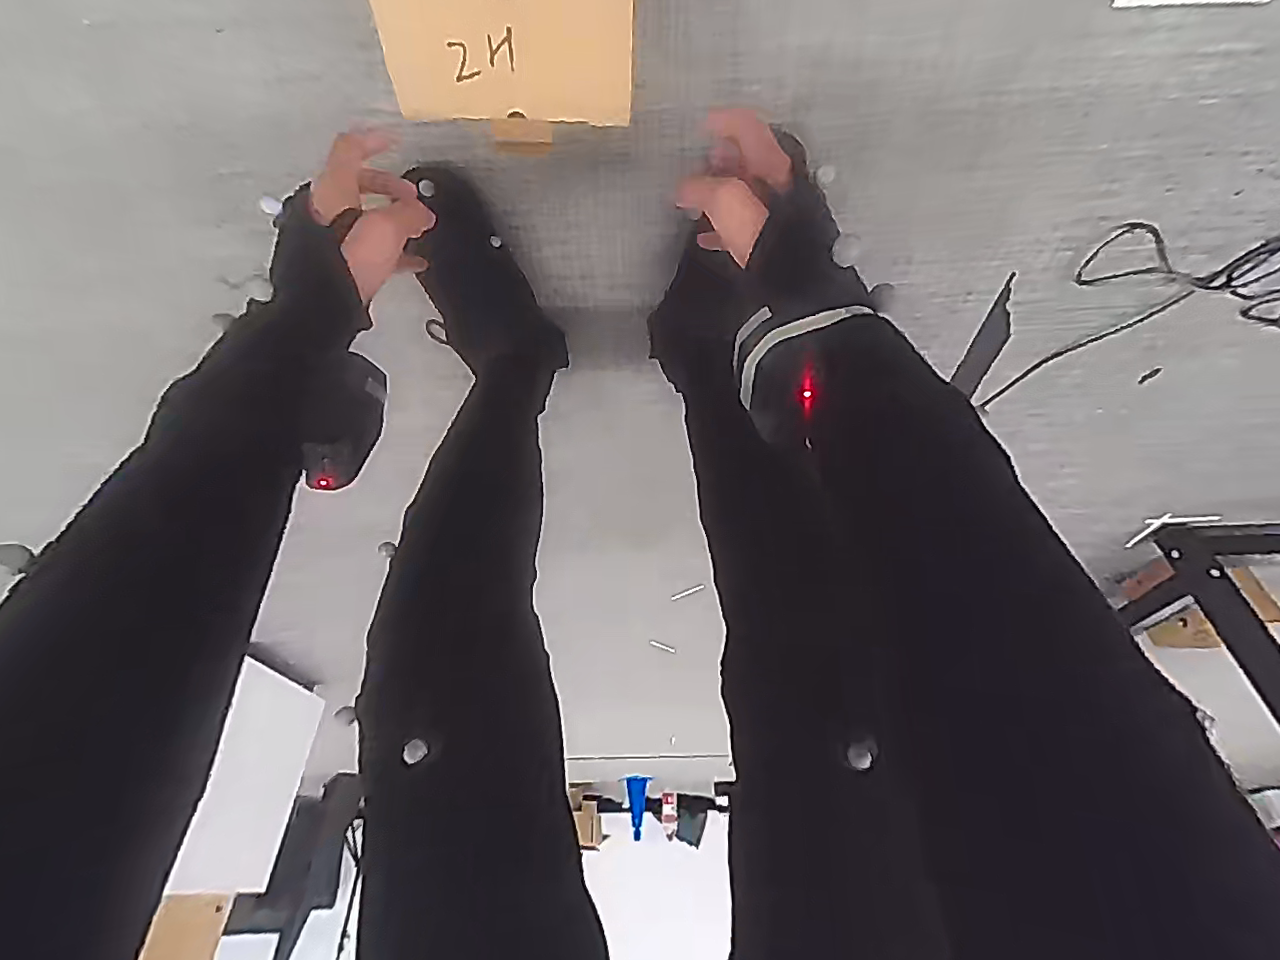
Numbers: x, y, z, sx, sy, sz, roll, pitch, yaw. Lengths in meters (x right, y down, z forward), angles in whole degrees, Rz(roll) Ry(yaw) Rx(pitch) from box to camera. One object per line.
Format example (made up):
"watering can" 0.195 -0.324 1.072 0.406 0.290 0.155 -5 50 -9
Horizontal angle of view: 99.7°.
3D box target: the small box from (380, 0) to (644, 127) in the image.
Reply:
"small box" -0.079 -0.373 0.367 0.168 0.176 0.179 2 143 -2

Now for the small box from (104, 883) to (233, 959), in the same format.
"small box" -1.267 1.204 1.467 0.179 0.176 0.168 1 144 0
